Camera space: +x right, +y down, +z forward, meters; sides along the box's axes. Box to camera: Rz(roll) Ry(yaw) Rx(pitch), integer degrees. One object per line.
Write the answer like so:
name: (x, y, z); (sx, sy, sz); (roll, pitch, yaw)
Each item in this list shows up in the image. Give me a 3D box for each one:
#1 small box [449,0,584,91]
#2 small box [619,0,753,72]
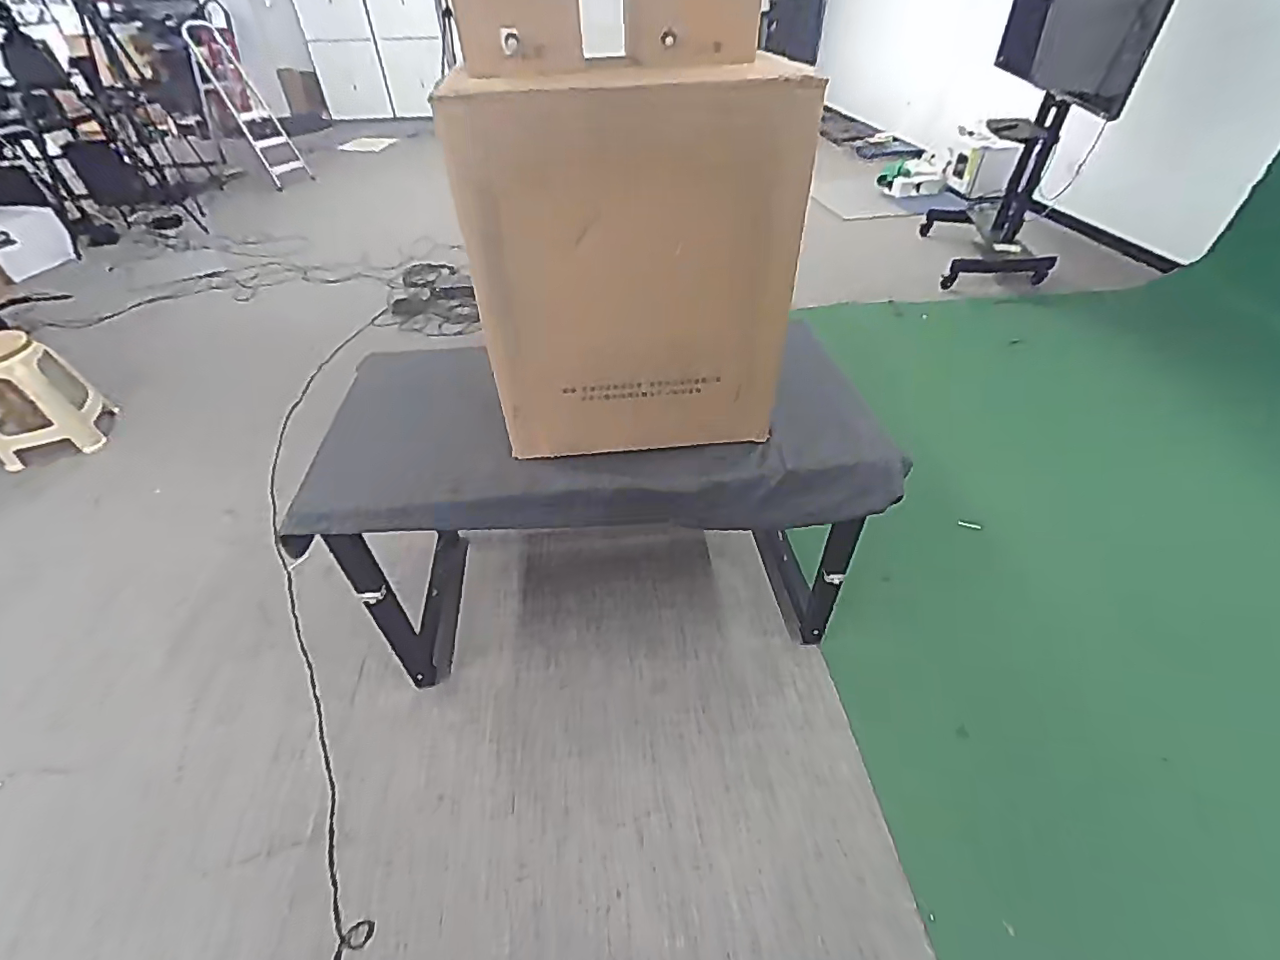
small box: (-0.174, -0.664, 0.758); (0.168, 0.176, 0.179); (-8, 46, -2)
small box: (0.063, -0.706, 0.784); (0.168, 0.176, 0.179); (-9, 44, -7)
